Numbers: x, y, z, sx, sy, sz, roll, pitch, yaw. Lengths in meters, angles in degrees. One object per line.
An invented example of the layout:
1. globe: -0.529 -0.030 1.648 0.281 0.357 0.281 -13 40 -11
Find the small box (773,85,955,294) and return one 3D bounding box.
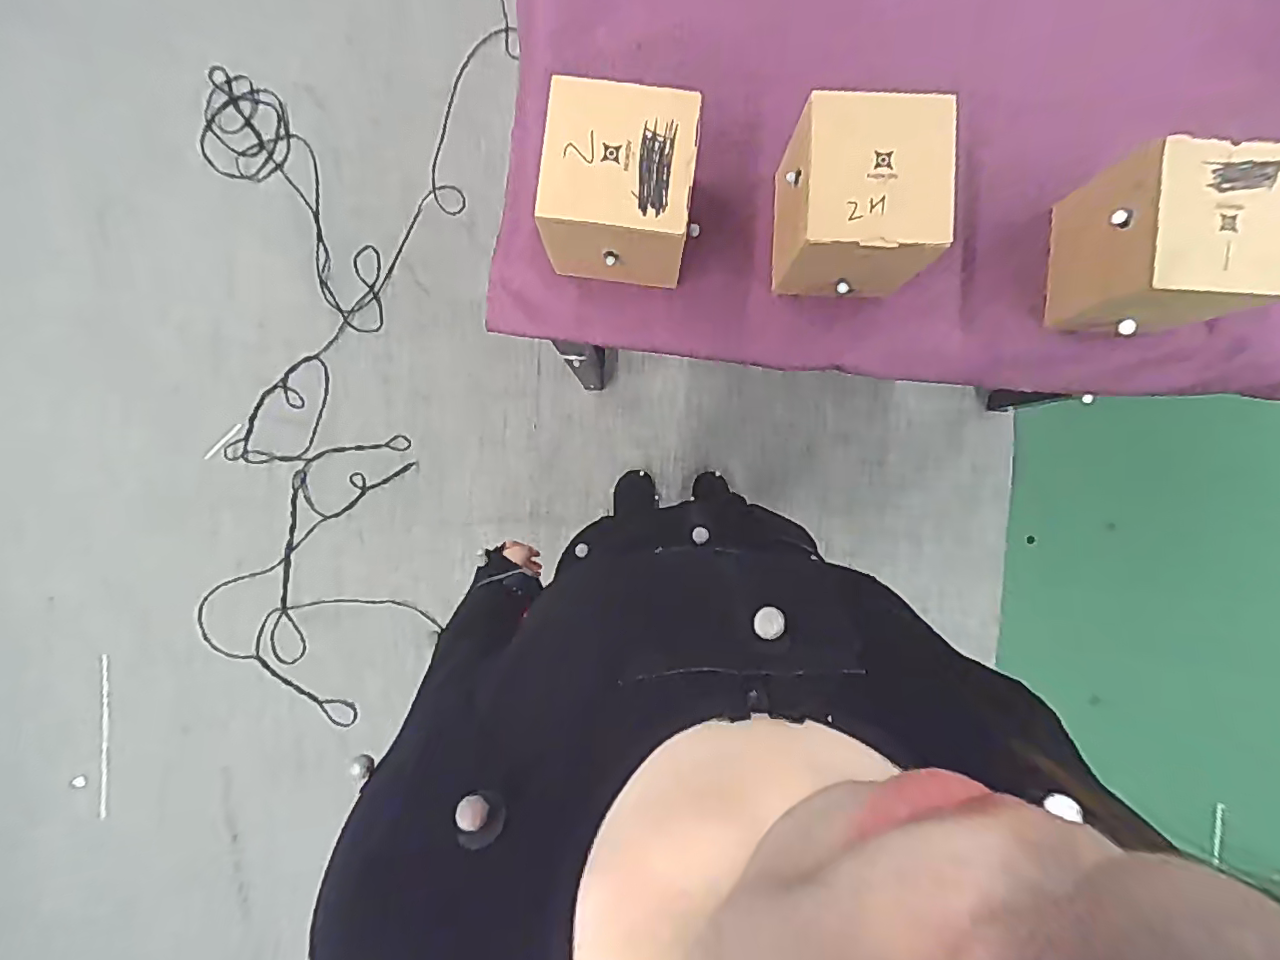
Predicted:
1. small box: 0.272 -0.357 0.690 0.168 0.176 0.179 2 90 1

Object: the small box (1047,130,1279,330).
1. small box: 0.664 -0.305 0.691 0.168 0.176 0.179 3 91 0
